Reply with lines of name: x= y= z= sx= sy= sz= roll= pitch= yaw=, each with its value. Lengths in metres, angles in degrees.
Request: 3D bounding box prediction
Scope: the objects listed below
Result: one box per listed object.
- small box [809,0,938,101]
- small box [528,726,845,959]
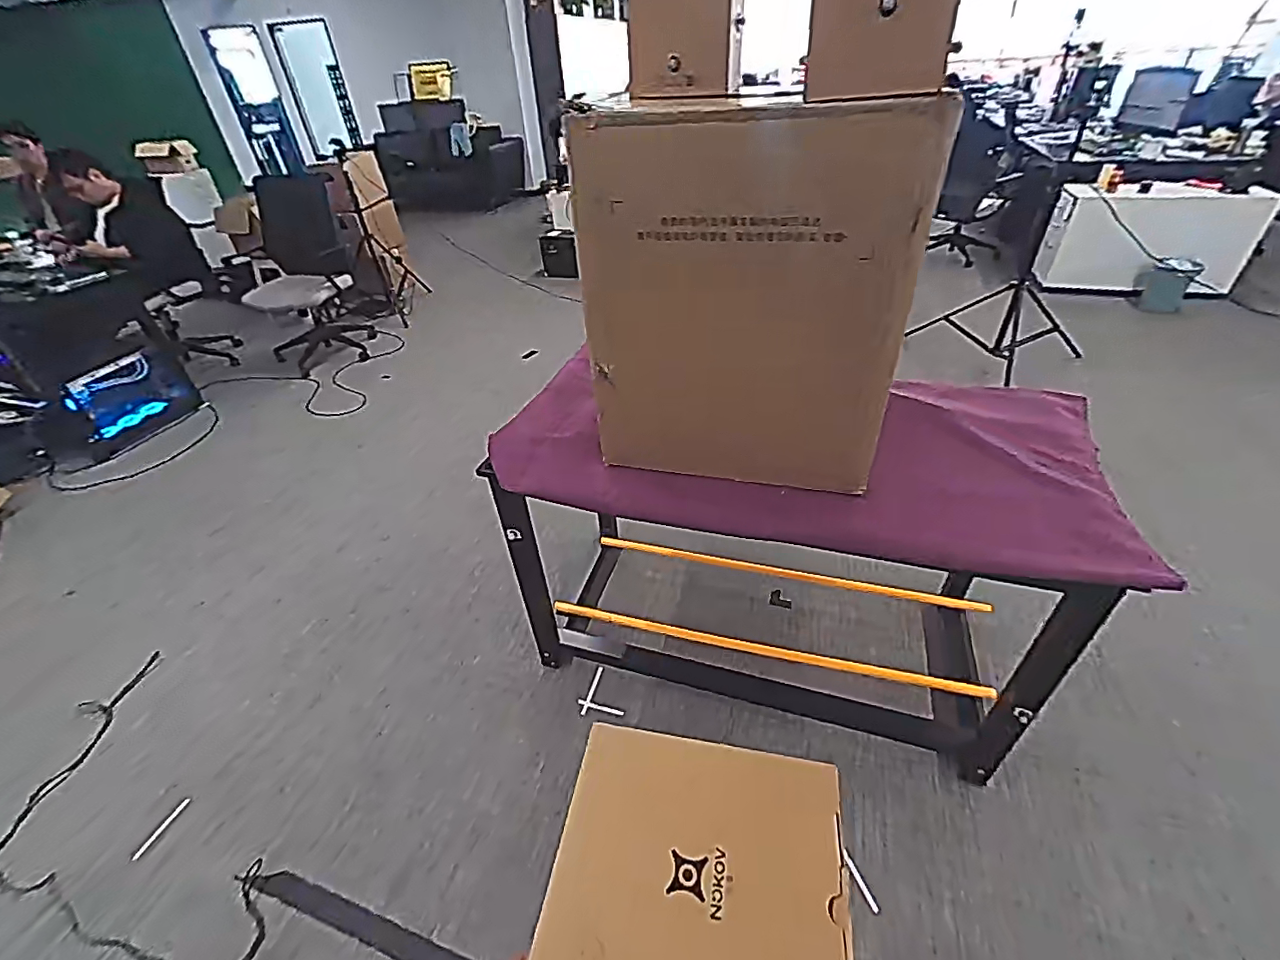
small box: x=0.363 y=-0.703 z=0.849 sx=0.168 sy=0.176 sz=0.179 roll=8 pitch=39 yaw=17
small box: x=0.039 y=0.306 z=0.382 sx=0.179 sy=0.176 sz=0.168 roll=5 pitch=40 yaw=11
